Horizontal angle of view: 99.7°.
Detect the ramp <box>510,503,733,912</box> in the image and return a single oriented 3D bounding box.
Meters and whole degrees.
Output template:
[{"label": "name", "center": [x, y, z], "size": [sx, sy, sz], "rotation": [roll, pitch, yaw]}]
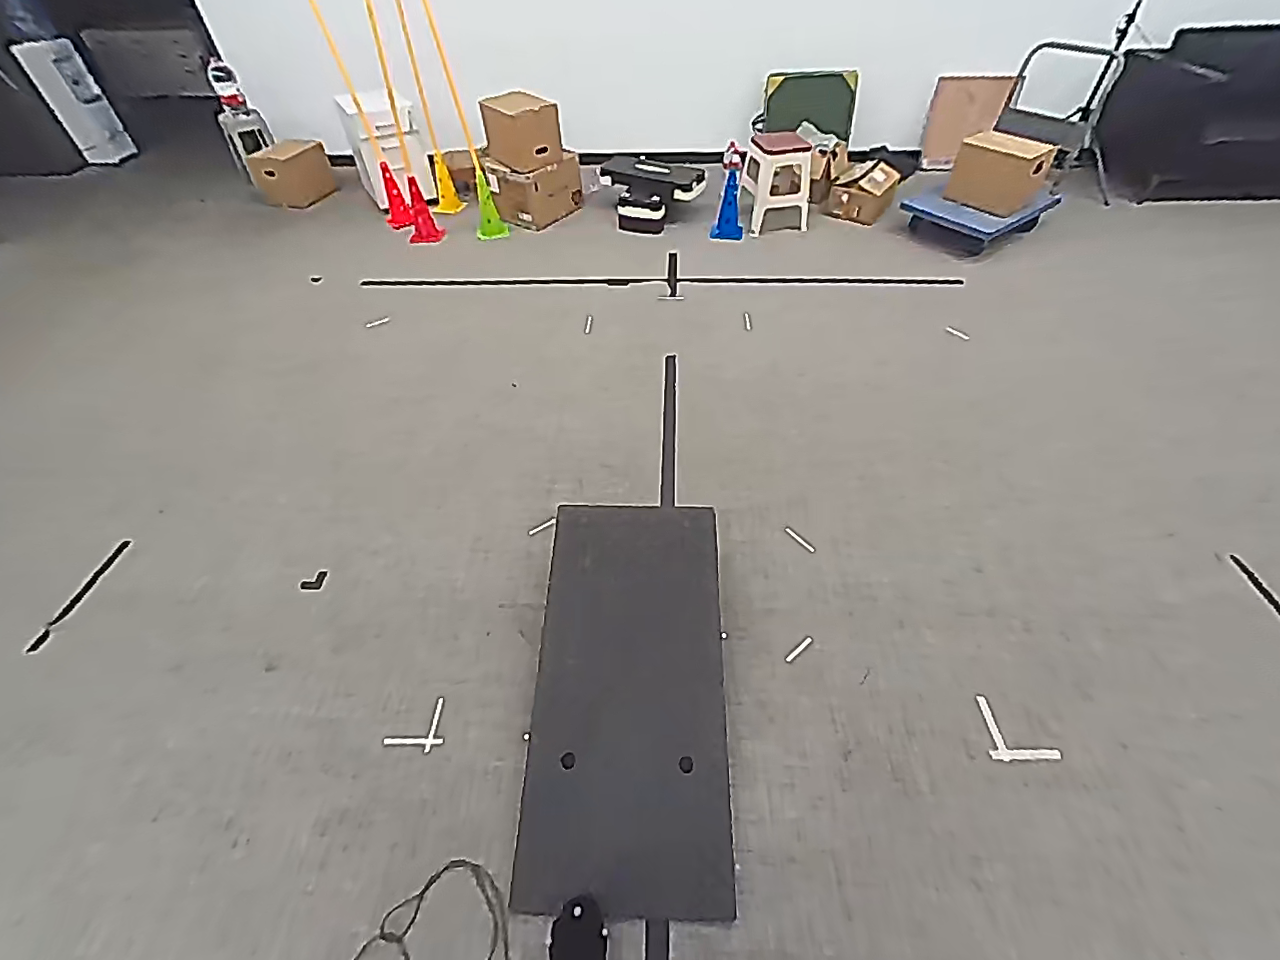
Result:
[{"label": "ramp", "center": [-0.025, 0.501, 1.427], "size": [0.509, 0.206, 0.991], "rotation": [0, 48, 0]}]
